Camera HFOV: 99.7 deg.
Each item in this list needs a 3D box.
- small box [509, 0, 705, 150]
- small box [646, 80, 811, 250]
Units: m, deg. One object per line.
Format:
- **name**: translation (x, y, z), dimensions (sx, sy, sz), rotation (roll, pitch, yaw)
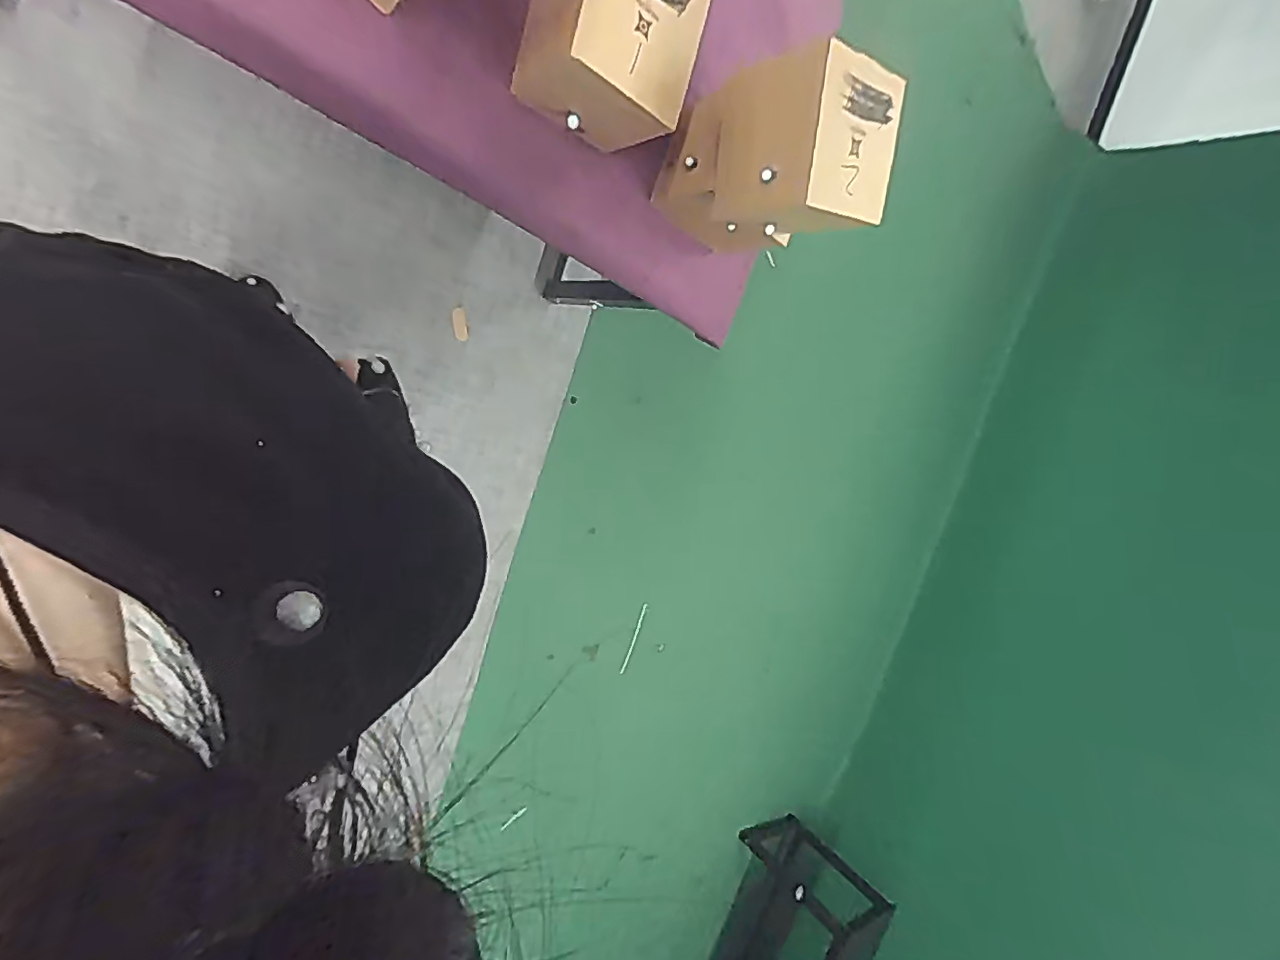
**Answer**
- **small box**: translation (-0.049, -0.568, 0.701), dimensions (0.168, 0.176, 0.179), rotation (10, 100, -41)
- **small box**: translation (0.139, -0.492, 0.883), dimensions (0.179, 0.176, 0.168), rotation (18, 94, -42)
